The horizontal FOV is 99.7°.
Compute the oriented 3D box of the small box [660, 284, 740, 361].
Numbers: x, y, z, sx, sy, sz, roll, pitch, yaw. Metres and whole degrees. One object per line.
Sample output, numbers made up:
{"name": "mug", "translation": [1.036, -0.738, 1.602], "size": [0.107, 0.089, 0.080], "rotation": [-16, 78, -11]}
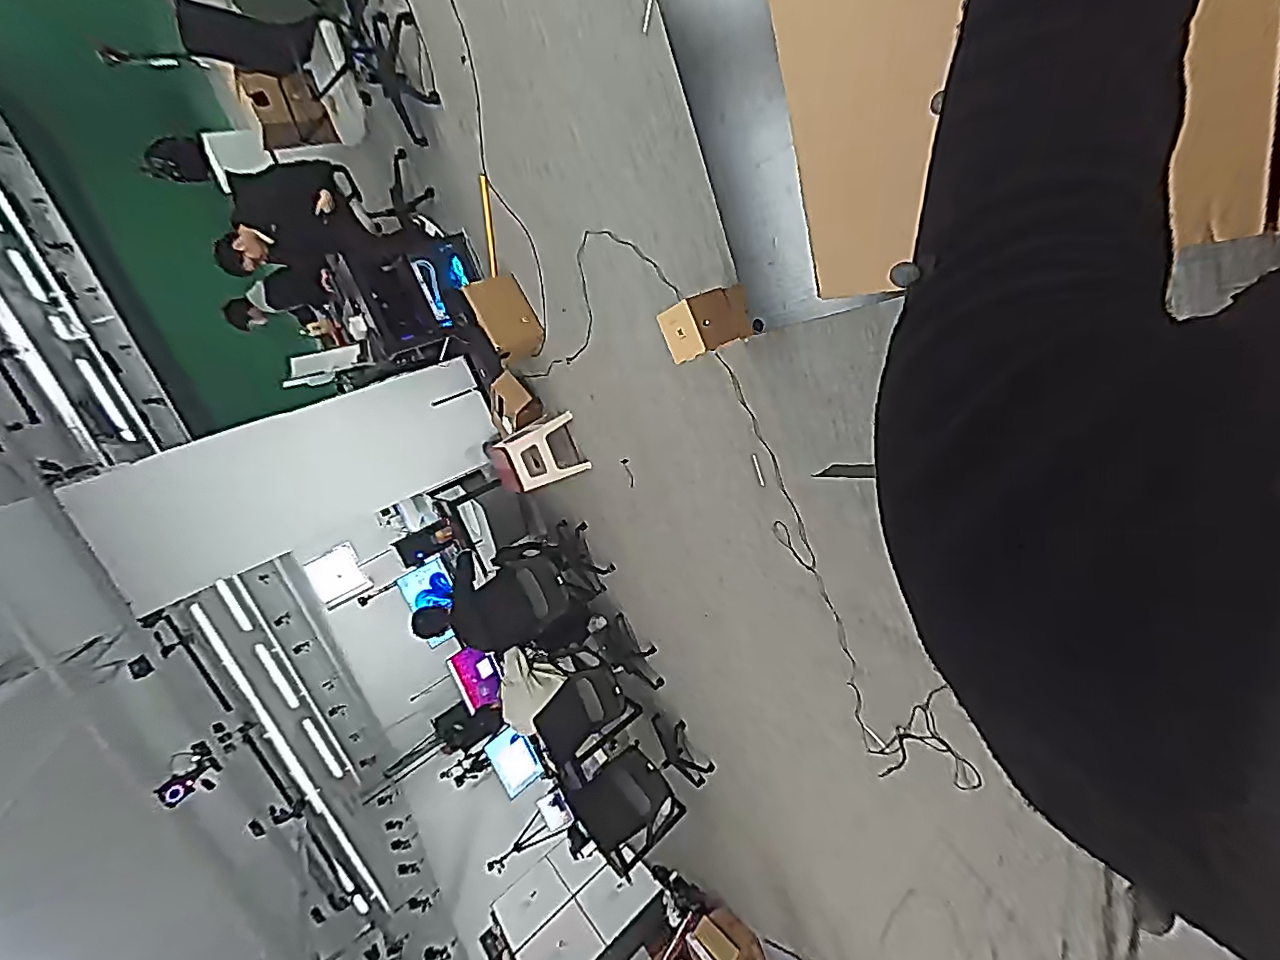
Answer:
{"name": "small box", "translation": [0.200, -0.516, 1.771], "size": [0.168, 0.176, 0.179], "rotation": [-9, 107, 58]}

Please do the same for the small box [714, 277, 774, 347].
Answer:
{"name": "small box", "translation": [0.327, -0.579, 1.852], "size": [0.168, 0.176, 0.179], "rotation": [-4, 112, 58]}
